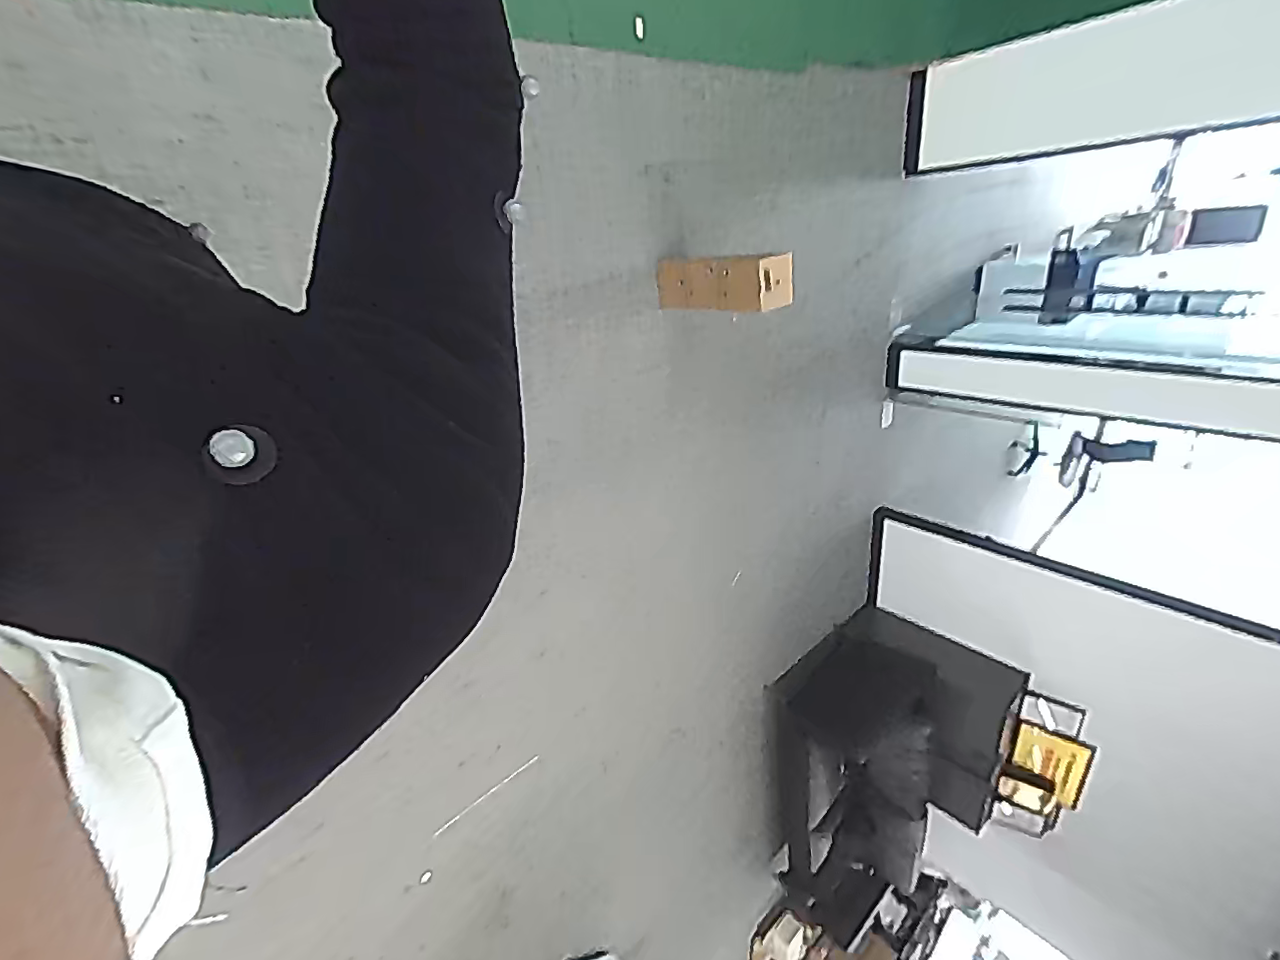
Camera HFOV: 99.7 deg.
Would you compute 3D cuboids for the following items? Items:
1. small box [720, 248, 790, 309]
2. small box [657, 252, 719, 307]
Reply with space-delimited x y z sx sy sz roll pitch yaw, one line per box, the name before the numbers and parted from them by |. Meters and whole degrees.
small box | 0.383 -0.675 1.814 0.179 0.176 0.168 -28 122 -34
small box | 0.179 -0.762 2.056 0.168 0.176 0.179 -25 121 -33
